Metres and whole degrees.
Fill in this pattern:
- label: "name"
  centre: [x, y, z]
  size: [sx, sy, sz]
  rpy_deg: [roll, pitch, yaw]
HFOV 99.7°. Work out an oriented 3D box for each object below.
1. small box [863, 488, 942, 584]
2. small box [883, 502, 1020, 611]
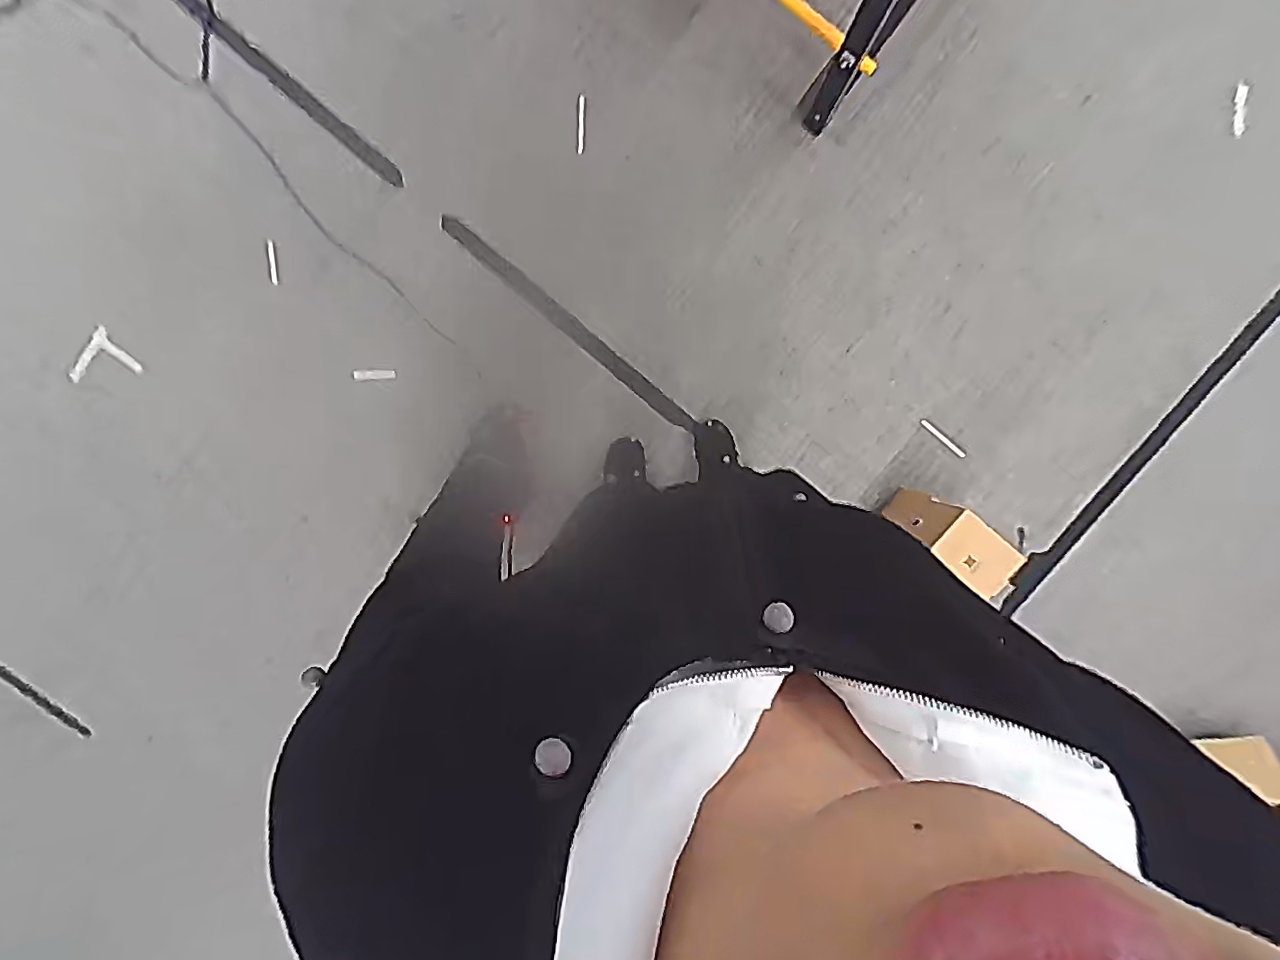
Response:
- label: "small box"
  centre: [0.714, 0.142, 1.412]
  size: [0.168, 0.176, 0.179]
  rpy_deg: [41, 95, -3]
- label: "small box"
  centre: [0.708, 0.166, 1.250]
  size: [0.179, 0.176, 0.168]
  rpy_deg: [39, 94, -1]
